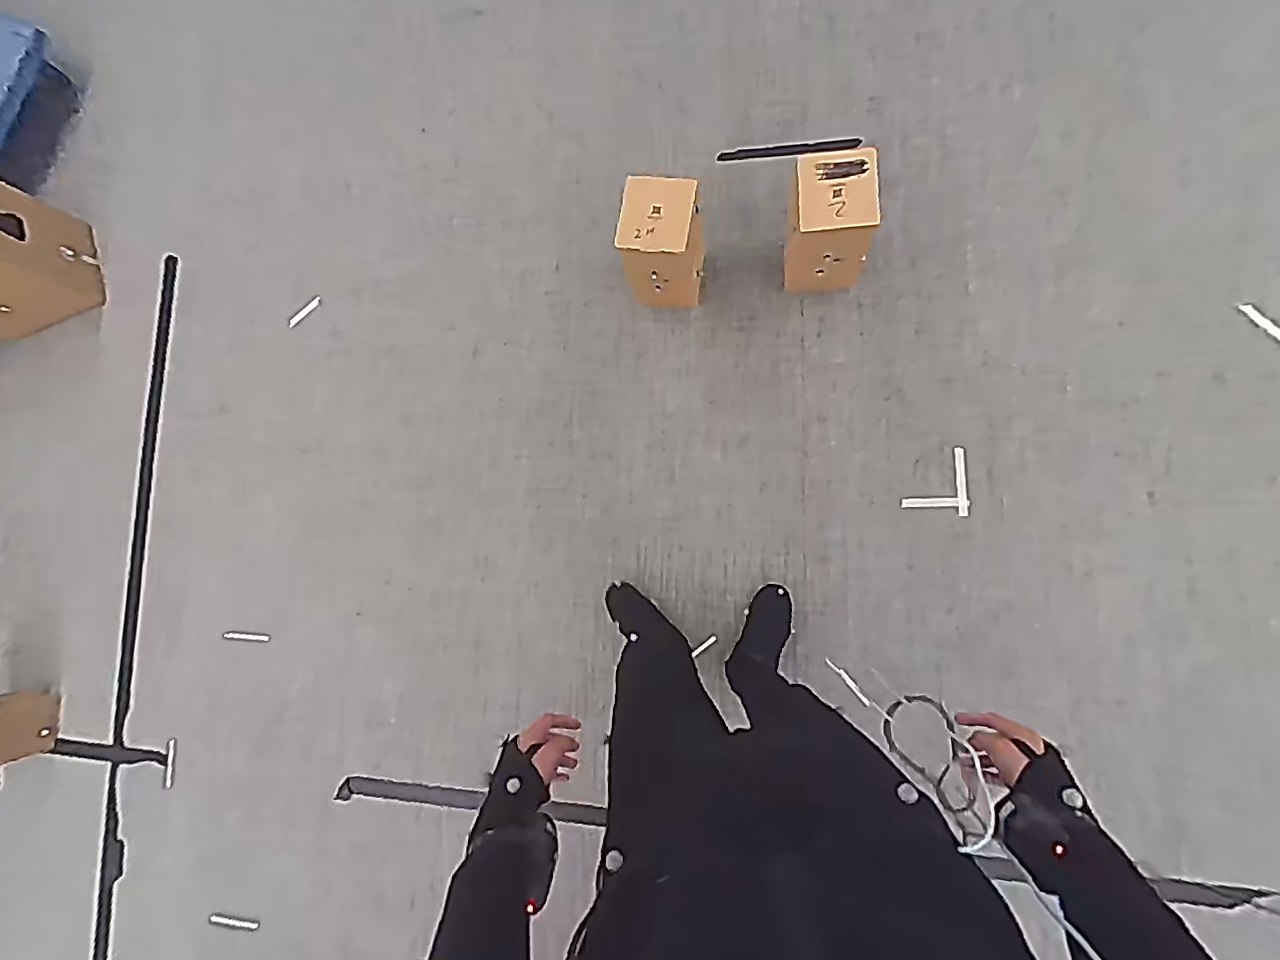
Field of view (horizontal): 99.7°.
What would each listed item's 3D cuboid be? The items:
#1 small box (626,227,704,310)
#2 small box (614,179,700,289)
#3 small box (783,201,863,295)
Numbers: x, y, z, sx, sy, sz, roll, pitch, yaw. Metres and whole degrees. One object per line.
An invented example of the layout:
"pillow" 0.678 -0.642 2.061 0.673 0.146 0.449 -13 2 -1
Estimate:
"small box" 0.074 -0.573 1.461 0.179 0.176 0.168 8 86 11
"small box" 0.048 -0.585 1.298 0.168 0.176 0.179 10 87 11
"small box" 0.465 -0.592 1.399 0.179 0.176 0.168 -1 85 8
